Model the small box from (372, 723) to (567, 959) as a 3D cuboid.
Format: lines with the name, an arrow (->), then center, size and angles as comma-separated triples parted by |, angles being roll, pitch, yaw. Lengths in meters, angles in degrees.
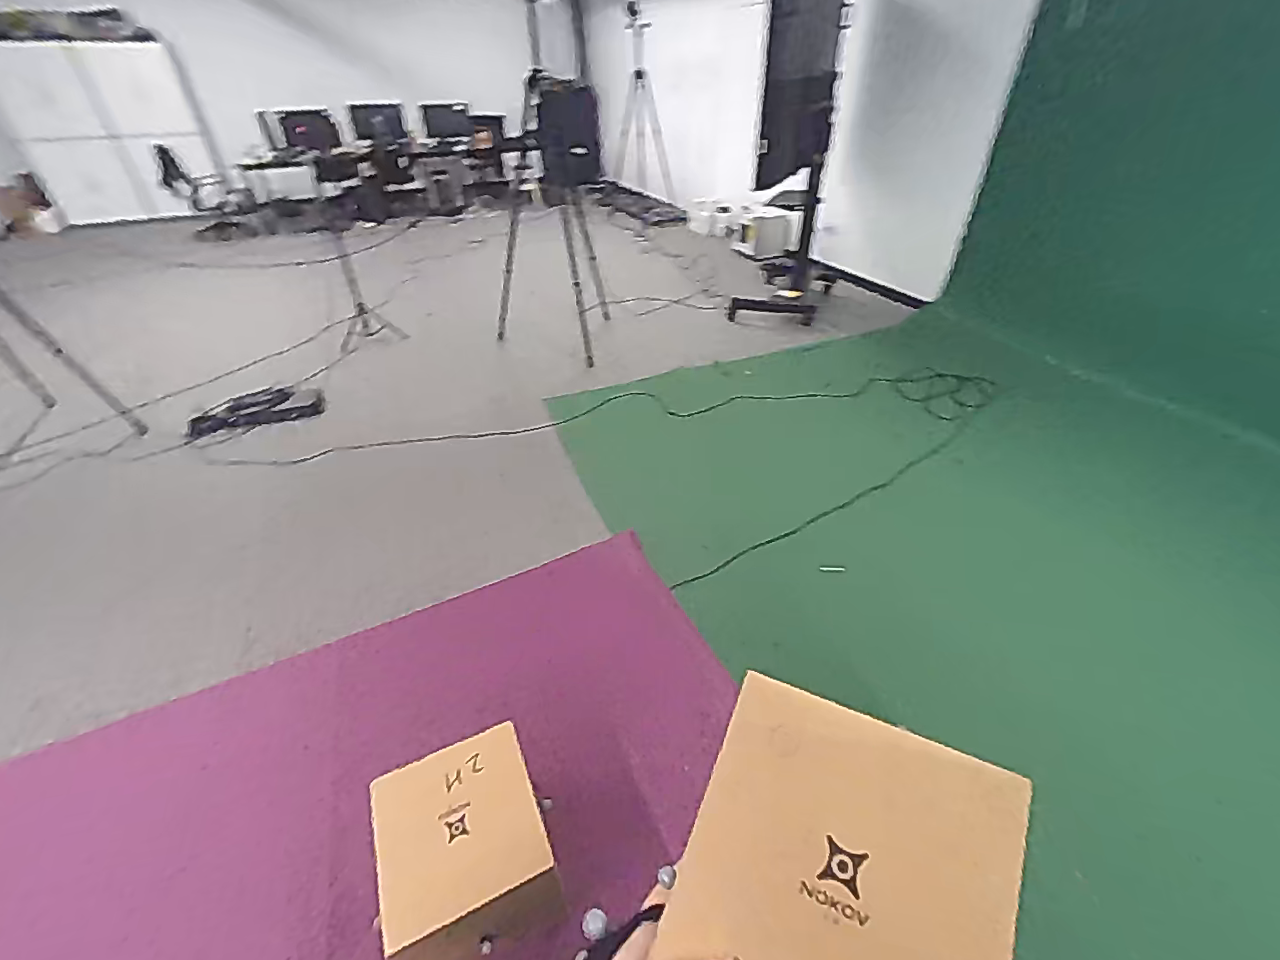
small box -> -0.193, 0.431, 0.629 | 0.168, 0.176, 0.179 | -17, 40, -20

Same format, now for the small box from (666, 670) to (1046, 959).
small box -> 0.137, 0.258, 0.364 | 0.168, 0.176, 0.179 | 16, 66, 24
